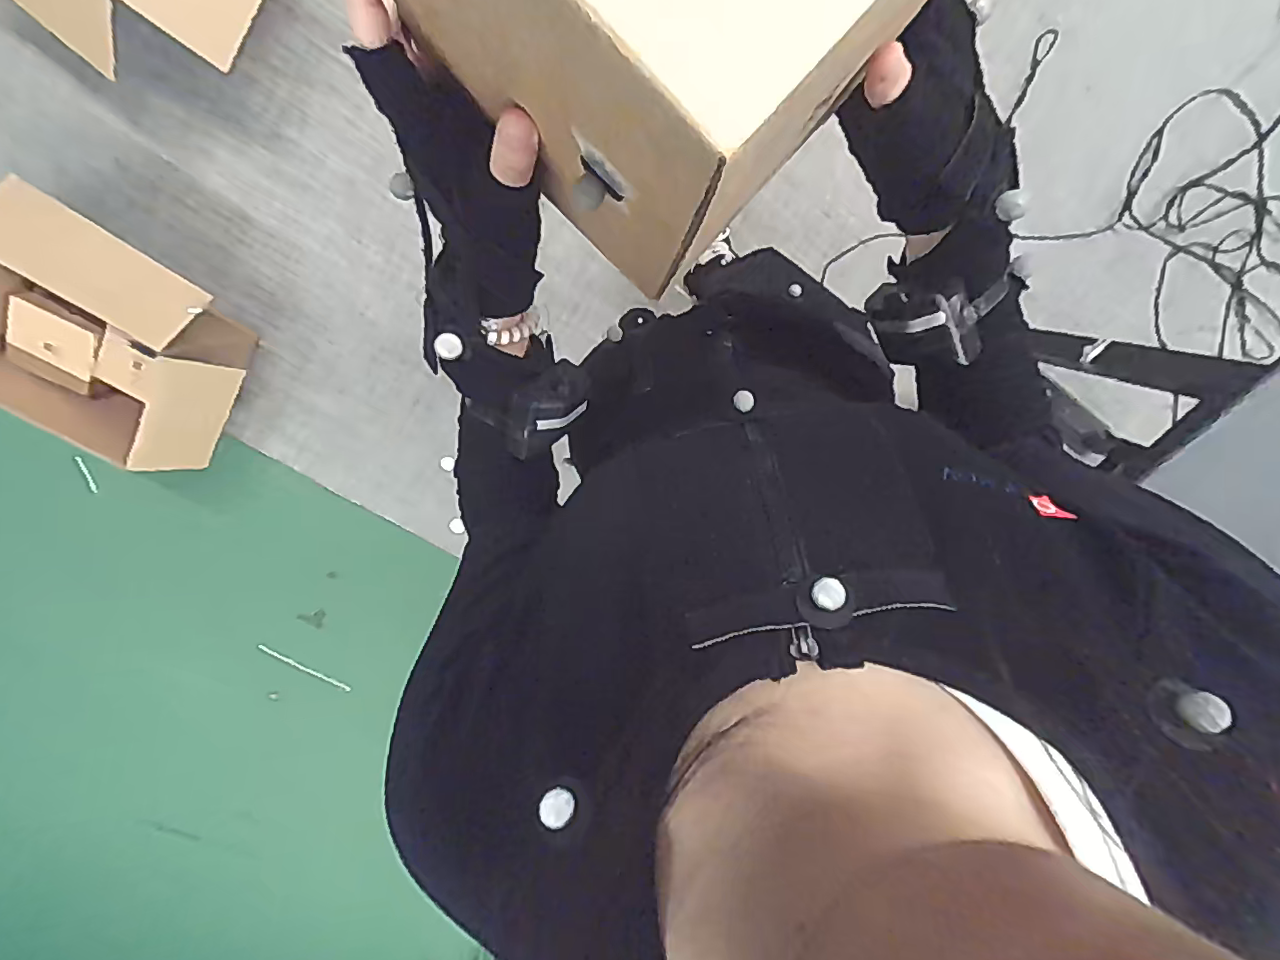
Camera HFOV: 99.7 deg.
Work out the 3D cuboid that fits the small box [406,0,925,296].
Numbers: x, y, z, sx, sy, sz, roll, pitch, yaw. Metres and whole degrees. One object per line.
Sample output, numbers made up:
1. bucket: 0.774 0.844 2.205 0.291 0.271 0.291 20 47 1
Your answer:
1. small box: 0.014 -0.210 0.211 0.176 0.179 0.168 43 90 -7
